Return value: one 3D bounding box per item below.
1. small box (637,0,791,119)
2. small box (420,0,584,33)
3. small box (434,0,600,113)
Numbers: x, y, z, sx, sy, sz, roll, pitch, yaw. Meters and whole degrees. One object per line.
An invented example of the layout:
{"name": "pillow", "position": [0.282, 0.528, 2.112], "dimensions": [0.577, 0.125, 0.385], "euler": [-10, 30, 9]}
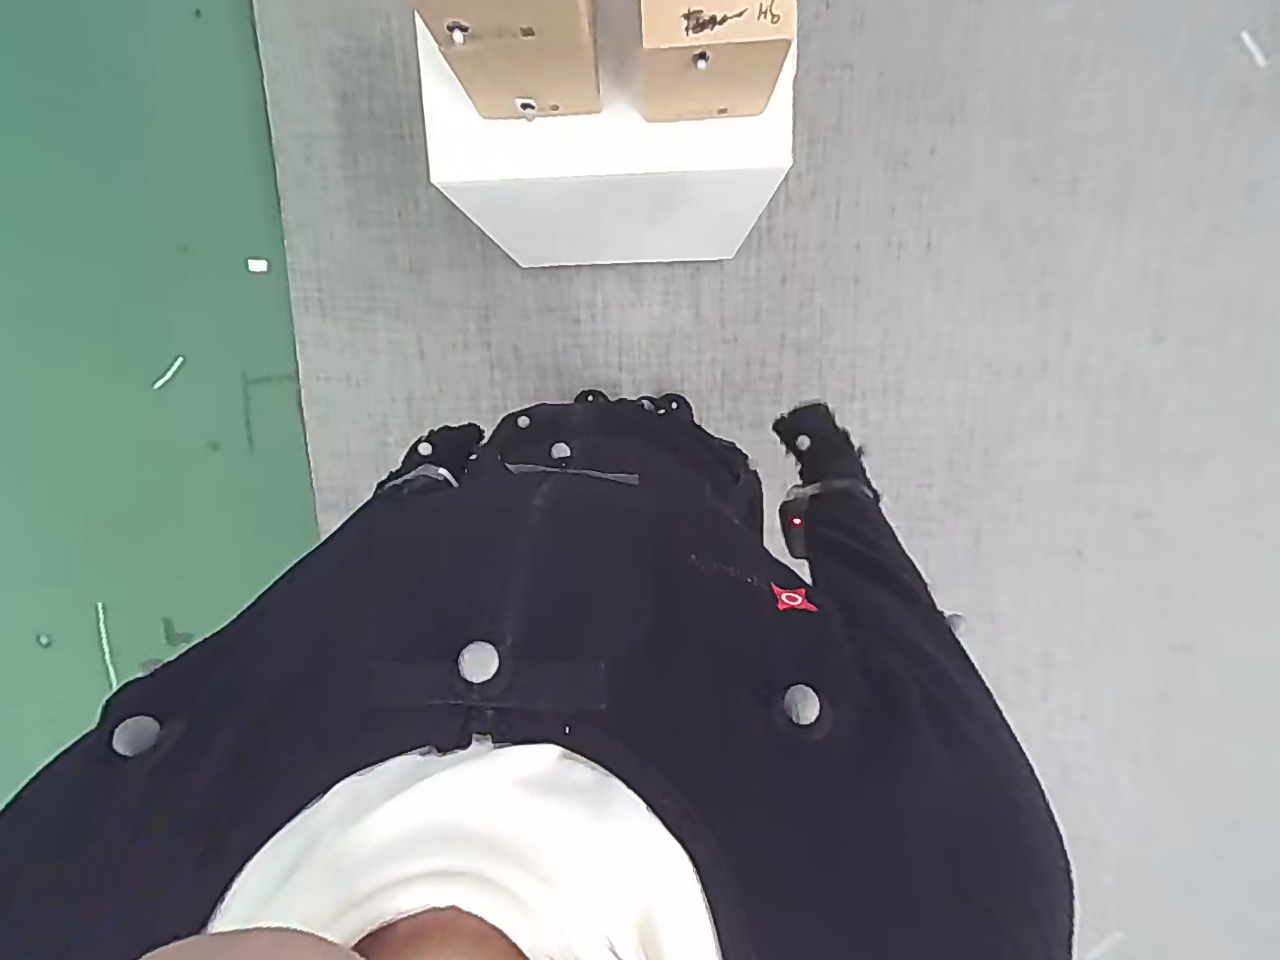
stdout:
{"name": "small box", "position": [0.079, -0.572, 0.649], "dimensions": [0.168, 0.176, 0.179], "euler": [-2, 98, 2]}
{"name": "small box", "position": [-0.143, -0.551, 0.493], "dimensions": [0.168, 0.176, 0.179], "euler": [0, 98, 2]}
{"name": "small box", "position": [-0.141, -0.575, 0.639], "dimensions": [0.168, 0.176, 0.179], "euler": [-4, 101, 2]}
